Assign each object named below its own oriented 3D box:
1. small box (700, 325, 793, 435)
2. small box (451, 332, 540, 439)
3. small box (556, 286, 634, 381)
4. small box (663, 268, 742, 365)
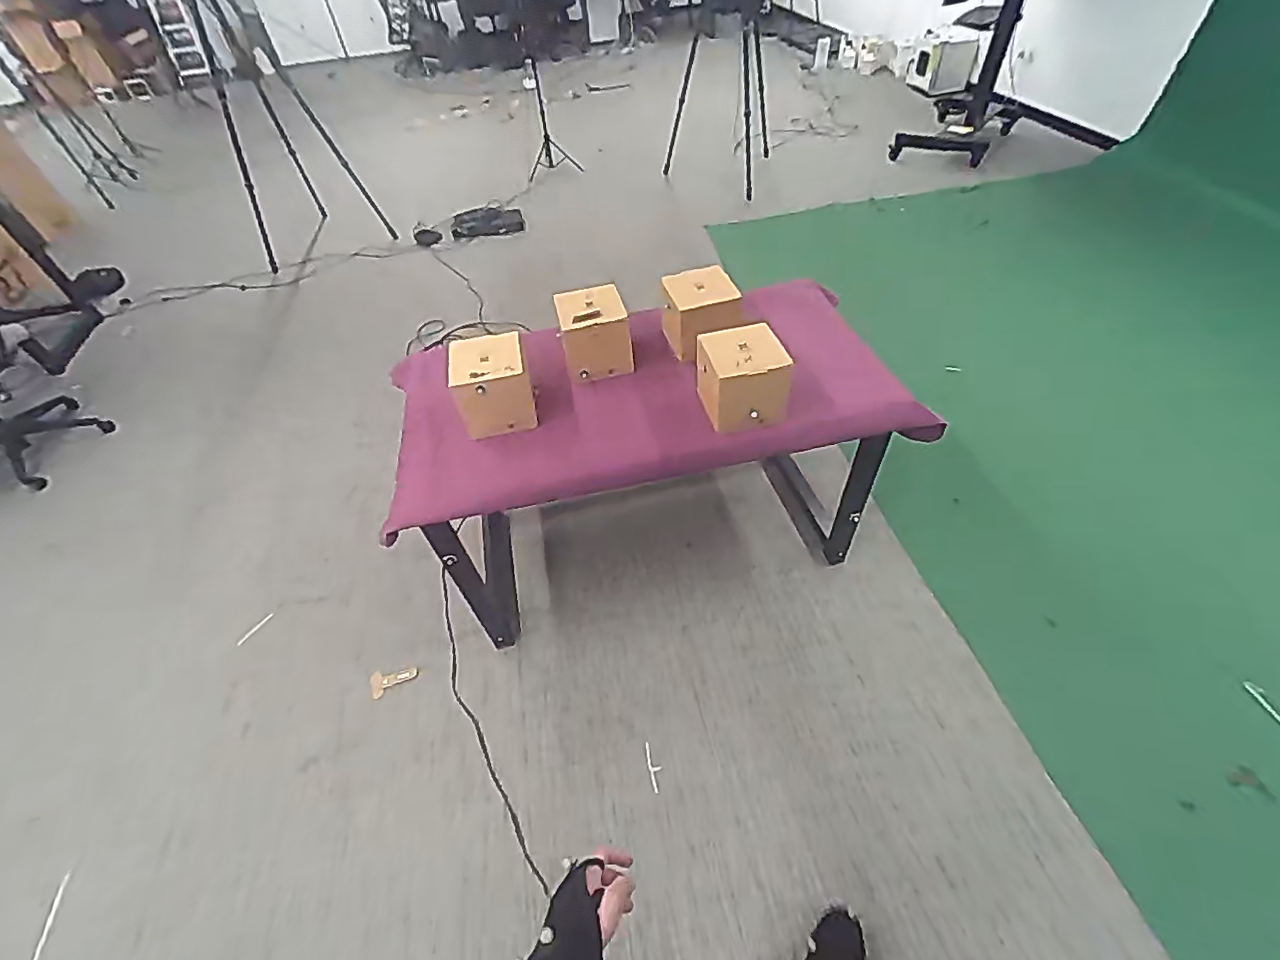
[{"bbox_3d":[0.236,-0.230,1.250,0.168,0.176,0.179,-12,47,-4],"label":"small box"},{"bbox_3d":[-0.344,-0.227,1.304,0.168,0.176,0.179,-13,48,-4],"label":"small box"},{"bbox_3d":[-0.116,-0.377,1.416,0.168,0.176,0.179,-13,48,-6],"label":"small box"},{"bbox_3d":[0.162,-0.436,1.443,0.168,0.176,0.179,-14,50,-5],"label":"small box"}]
